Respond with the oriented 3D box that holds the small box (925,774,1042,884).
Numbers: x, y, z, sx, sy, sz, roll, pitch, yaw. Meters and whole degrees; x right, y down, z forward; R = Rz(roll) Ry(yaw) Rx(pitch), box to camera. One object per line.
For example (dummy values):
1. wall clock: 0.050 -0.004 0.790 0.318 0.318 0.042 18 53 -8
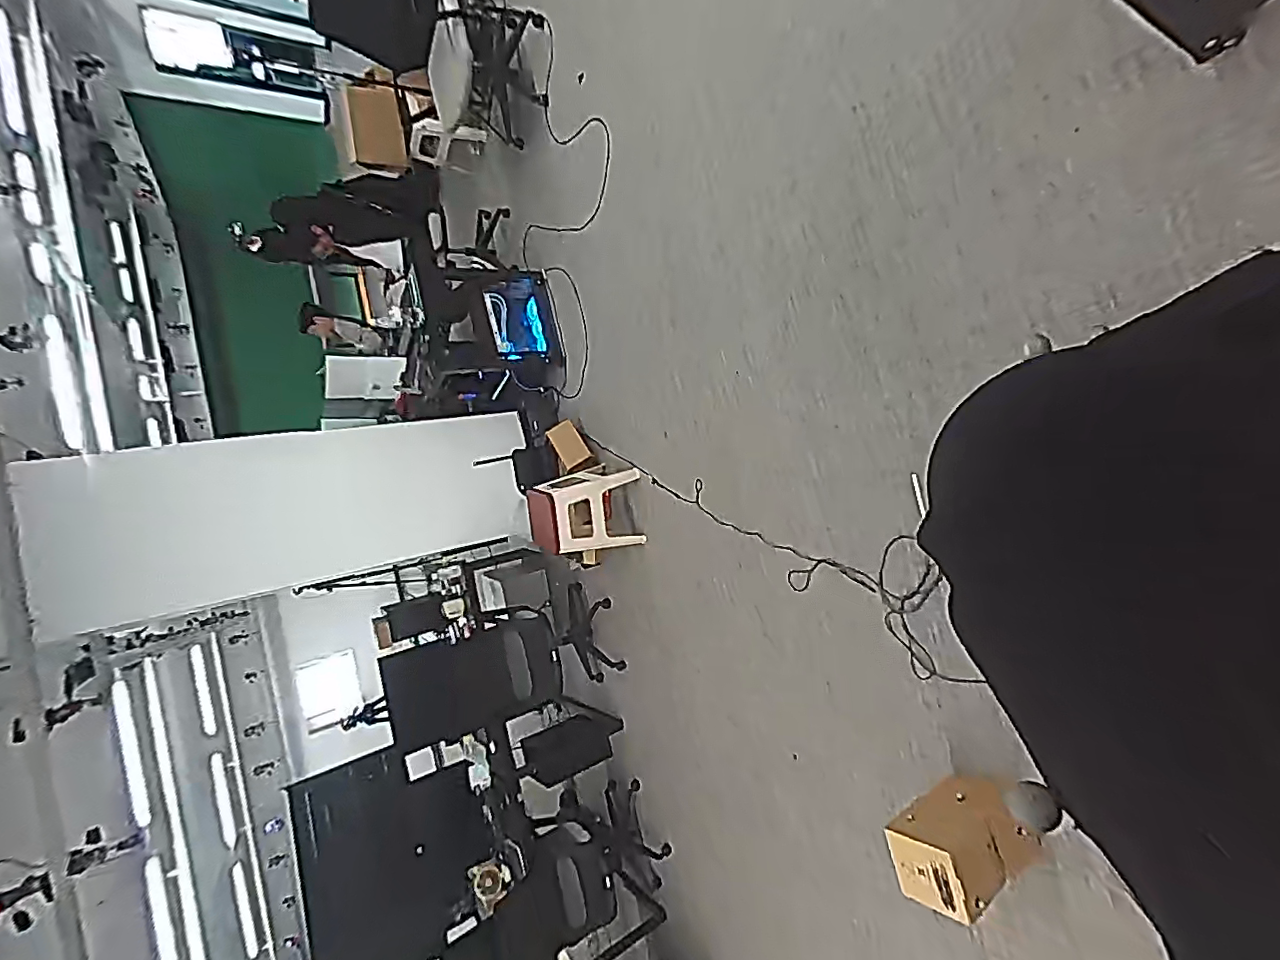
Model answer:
1. small box: 0.894 0.896 1.408 0.179 0.176 0.168 -30 74 57
